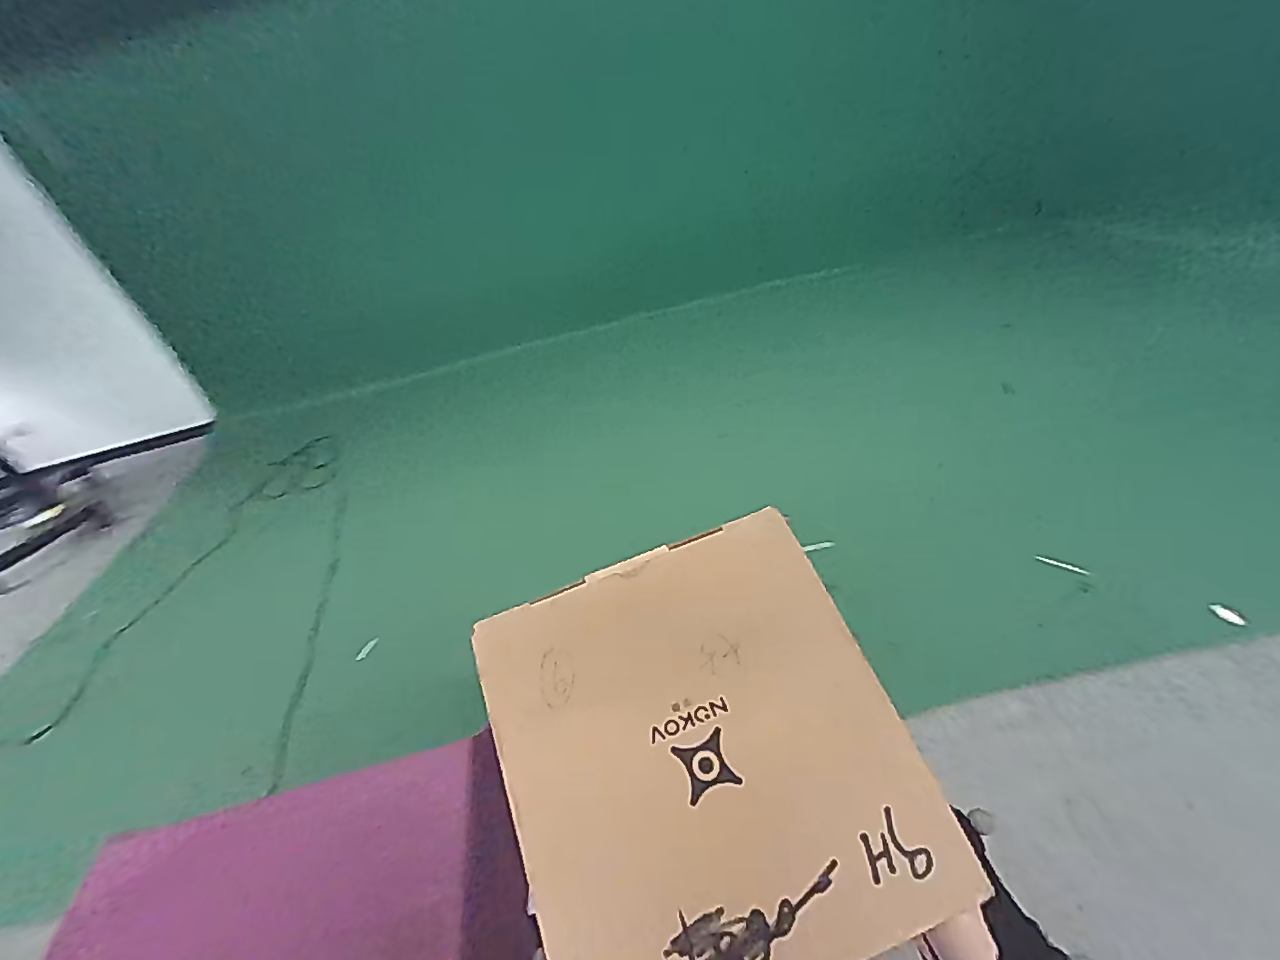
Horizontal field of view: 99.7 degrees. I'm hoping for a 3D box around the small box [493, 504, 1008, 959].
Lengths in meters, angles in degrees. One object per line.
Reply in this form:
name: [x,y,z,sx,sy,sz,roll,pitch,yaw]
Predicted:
small box: [0.038,0.145,0.300,0.168,0.176,0.179,-21,63,-5]
